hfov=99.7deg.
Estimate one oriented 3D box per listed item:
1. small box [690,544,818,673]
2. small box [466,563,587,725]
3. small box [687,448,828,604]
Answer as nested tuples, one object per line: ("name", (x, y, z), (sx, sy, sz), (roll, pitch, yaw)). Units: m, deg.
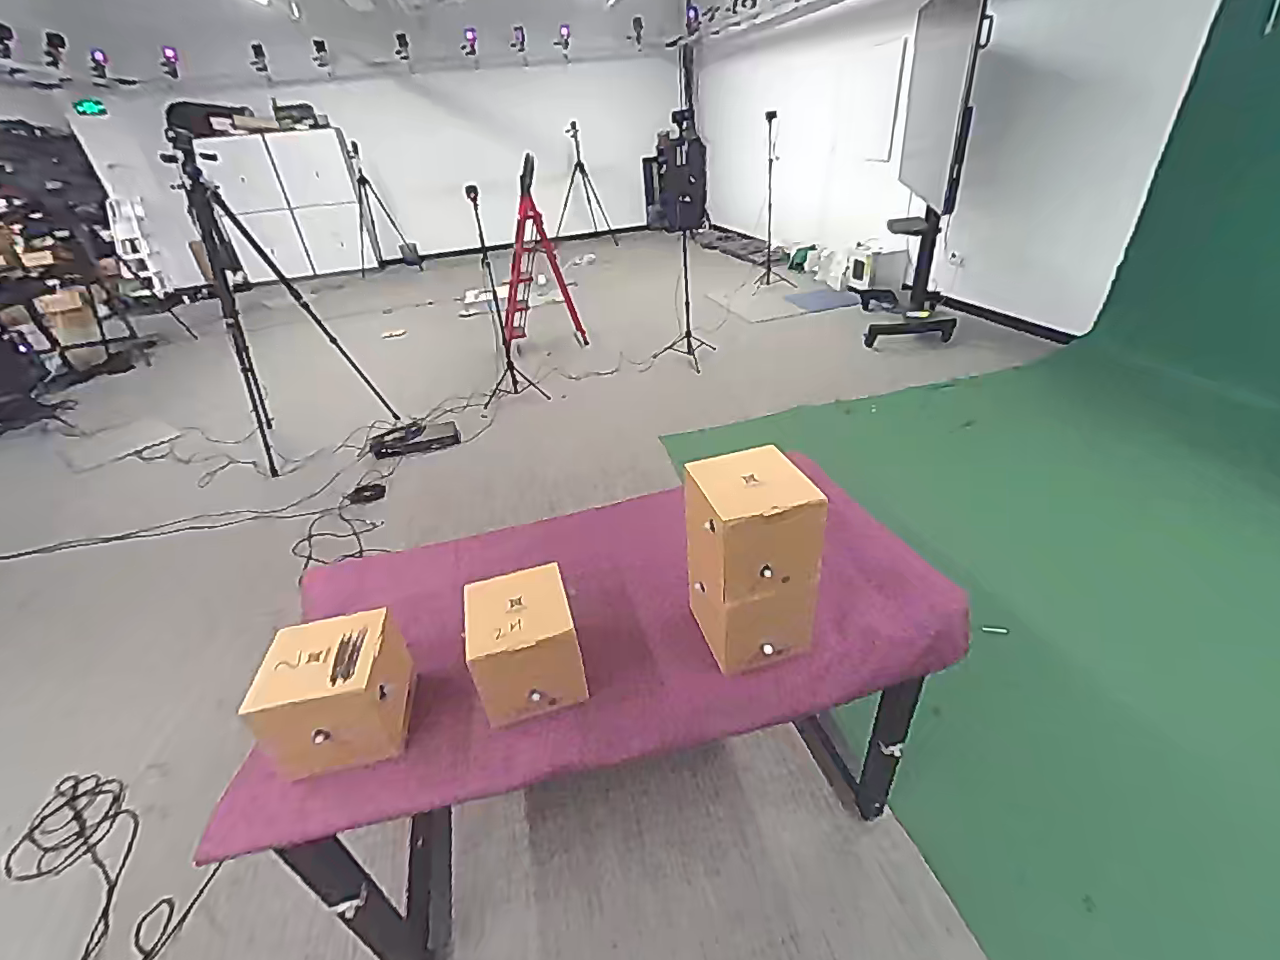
("small box", (0.194, 0.210, 0.969), (0.168, 0.176, 0.179), (-12, 34, -10))
("small box", (-0.193, 0.275, 0.920), (0.168, 0.176, 0.179), (-13, 33, -12))
("small box", (0.181, 0.071, 0.885), (0.168, 0.176, 0.179), (-13, 34, -11))
